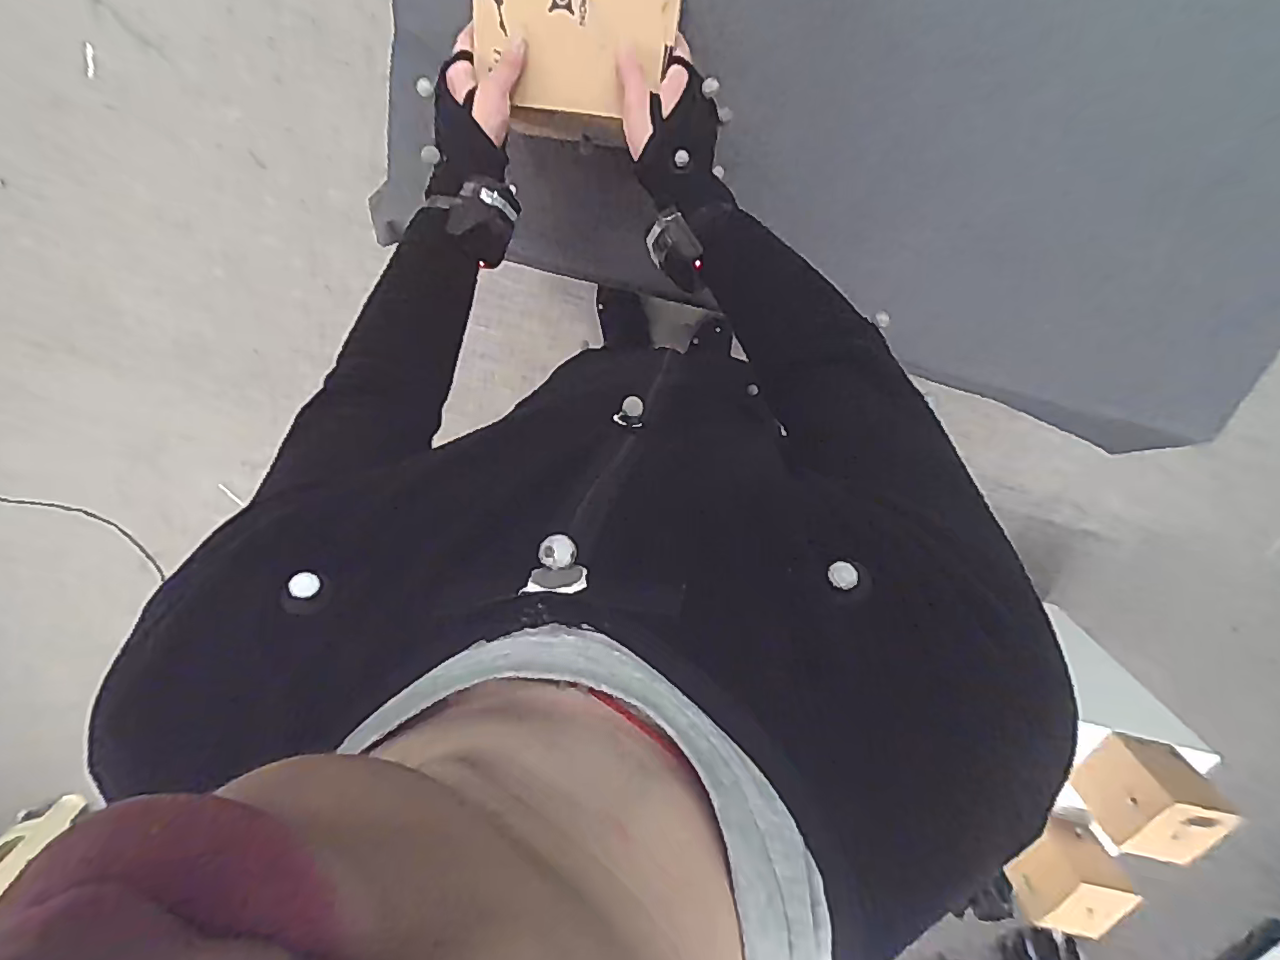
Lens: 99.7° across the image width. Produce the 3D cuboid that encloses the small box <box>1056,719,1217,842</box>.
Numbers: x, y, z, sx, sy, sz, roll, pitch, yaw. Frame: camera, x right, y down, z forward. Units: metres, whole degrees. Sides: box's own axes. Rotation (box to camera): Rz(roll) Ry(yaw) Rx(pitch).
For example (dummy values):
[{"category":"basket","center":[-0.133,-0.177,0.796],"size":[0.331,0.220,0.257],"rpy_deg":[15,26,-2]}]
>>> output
[{"category":"small box","center":[1.105,0.675,1.225],"size":[0.168,0.176,0.179],"rpy_deg":[15,117,-7]}]

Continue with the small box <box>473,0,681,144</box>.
[{"category":"small box","center":[-0.052,-0.442,0.528],"size":[0.179,0.176,0.168],"rpy_deg":[8,114,-2]}]

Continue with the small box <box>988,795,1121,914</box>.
[{"category":"small box","center":[1.017,0.932,1.351],"size":[0.168,0.176,0.179],"rpy_deg":[17,113,-9]}]
